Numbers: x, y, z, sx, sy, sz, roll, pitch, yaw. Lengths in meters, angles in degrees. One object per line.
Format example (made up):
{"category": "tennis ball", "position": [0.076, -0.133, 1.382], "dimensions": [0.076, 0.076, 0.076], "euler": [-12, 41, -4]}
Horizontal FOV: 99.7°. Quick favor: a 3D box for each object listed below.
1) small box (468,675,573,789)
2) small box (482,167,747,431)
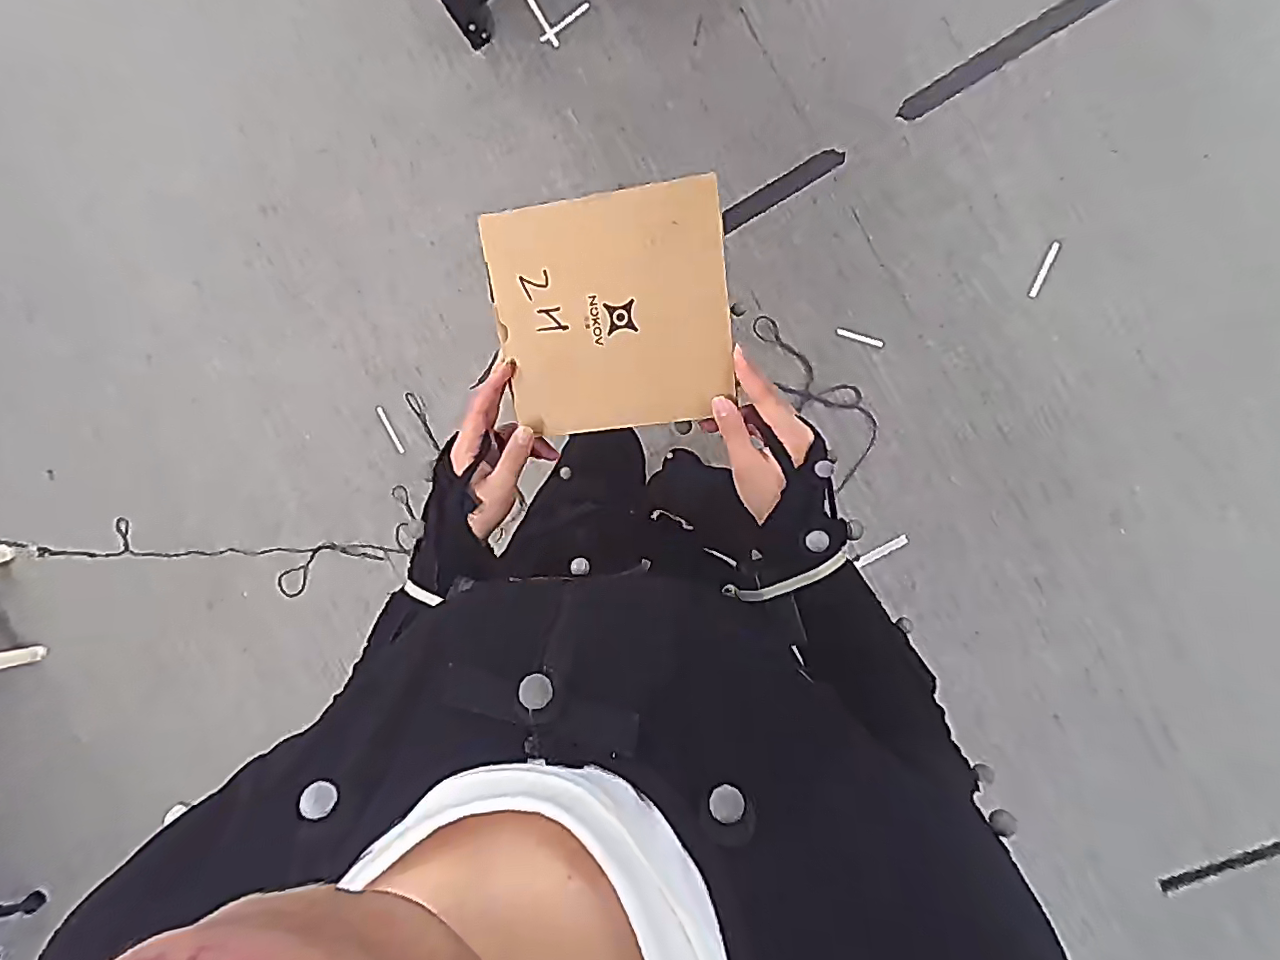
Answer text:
{"category": "small box", "position": [-0.298, 0.640, 1.391], "dimensions": [0.179, 0.176, 0.168], "euler": [-36, 90, 10]}
{"category": "small box", "position": [-0.007, -0.145, 0.462], "dimensions": [0.179, 0.176, 0.168], "euler": [-5, 105, 10]}
